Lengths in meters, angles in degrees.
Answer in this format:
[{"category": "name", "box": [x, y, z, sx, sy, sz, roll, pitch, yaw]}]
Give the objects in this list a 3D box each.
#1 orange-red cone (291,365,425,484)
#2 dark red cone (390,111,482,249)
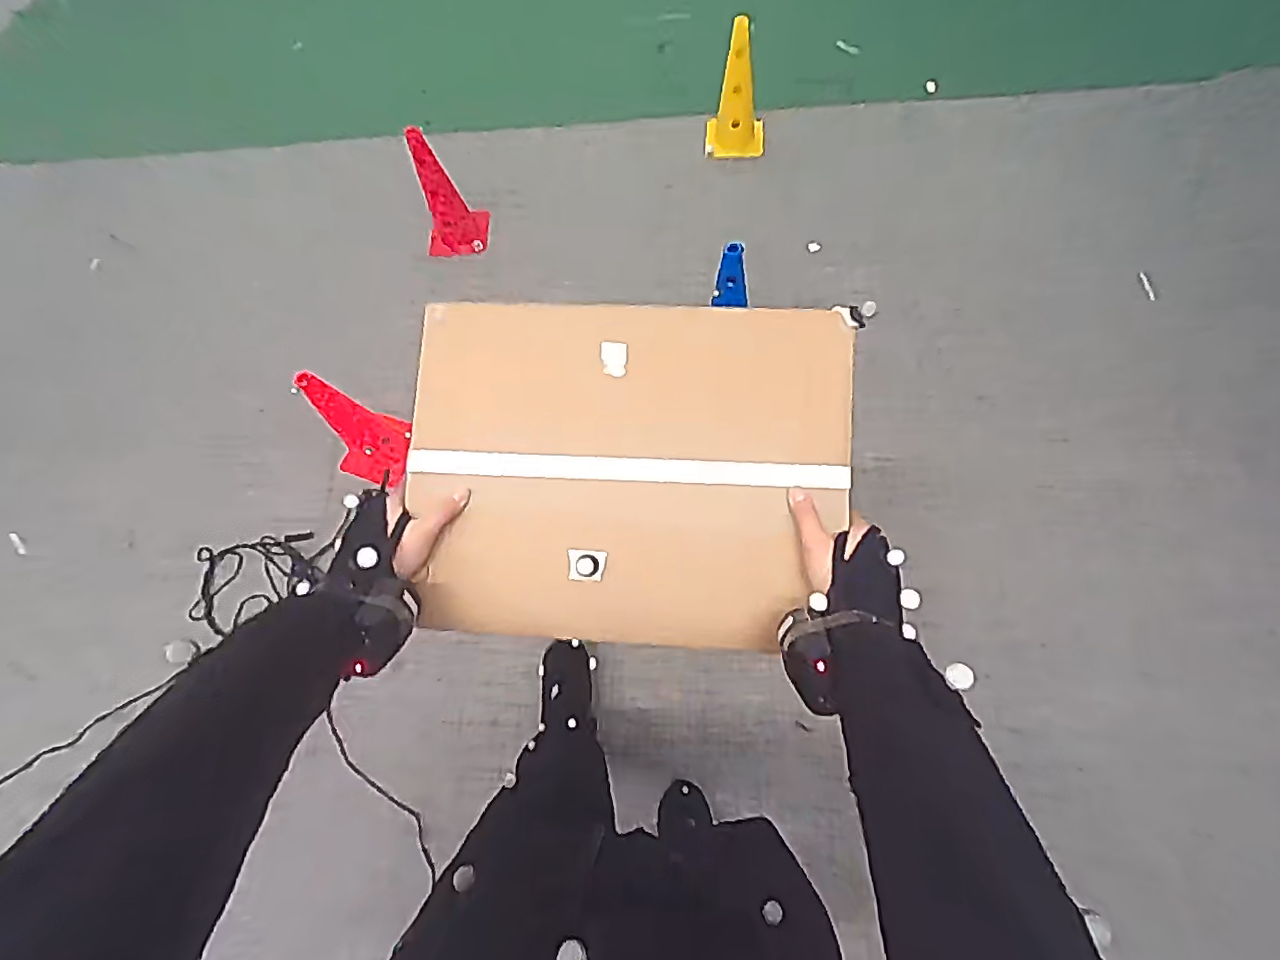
[{"category": "orange-red cone", "box": [-0.748, -0.166, 1.371, 0.199, 0.360, 0.198, 18, 68, 16]}, {"category": "dark red cone", "box": [-0.655, -0.935, 1.686, 0.202, 0.394, 0.201, -7, 62, 4]}]
